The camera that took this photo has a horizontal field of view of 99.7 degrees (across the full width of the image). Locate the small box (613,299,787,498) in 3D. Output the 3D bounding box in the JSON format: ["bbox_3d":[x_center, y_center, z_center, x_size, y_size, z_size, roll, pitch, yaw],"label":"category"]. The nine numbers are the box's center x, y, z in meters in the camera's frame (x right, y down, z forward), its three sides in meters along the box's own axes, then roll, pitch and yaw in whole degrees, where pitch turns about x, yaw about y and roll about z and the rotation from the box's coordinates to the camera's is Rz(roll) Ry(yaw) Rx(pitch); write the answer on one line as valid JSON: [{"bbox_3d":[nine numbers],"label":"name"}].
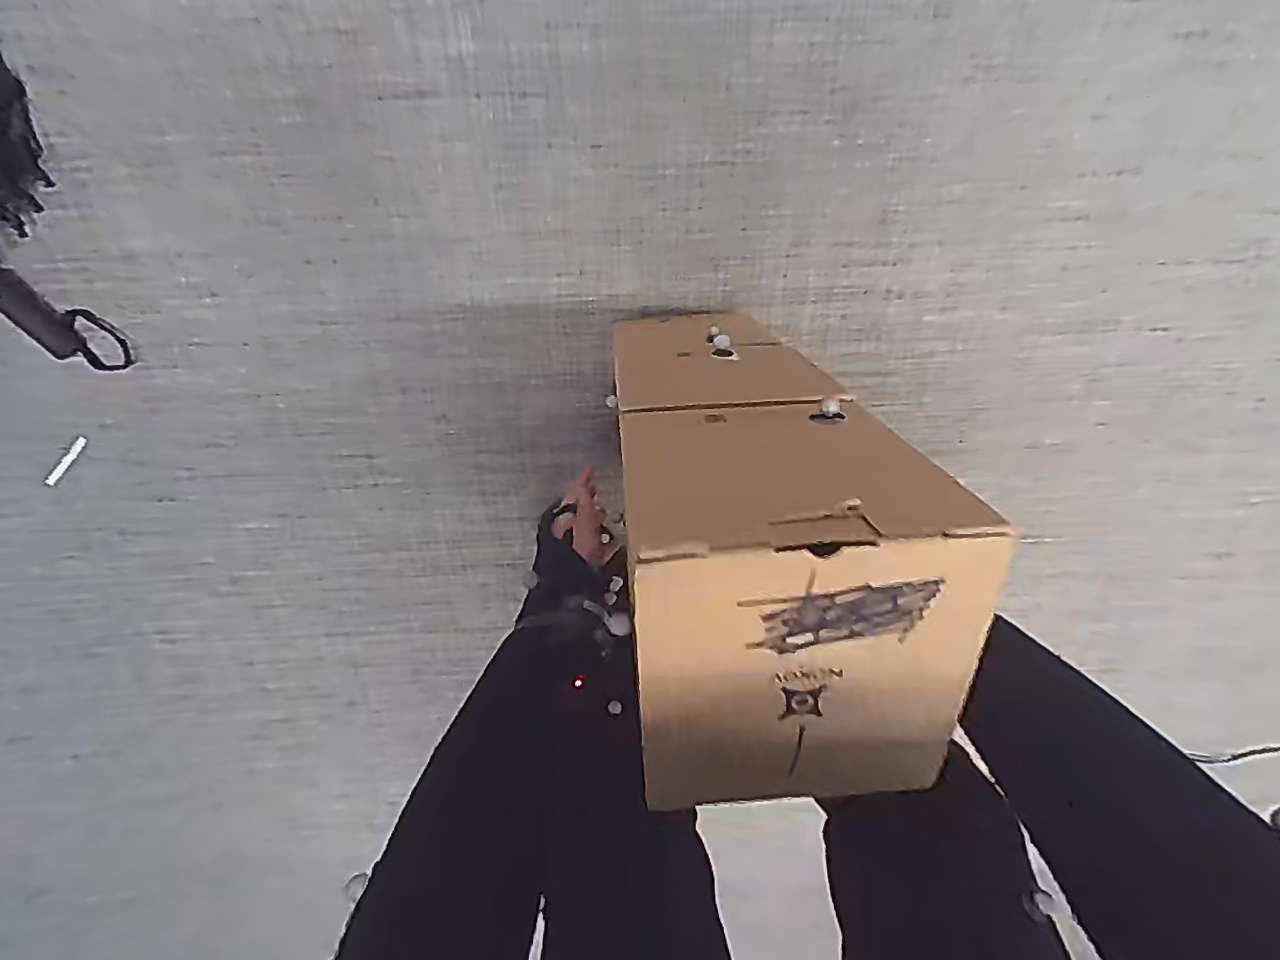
[{"bbox_3d":[0.057,-0.098,0.614,0.168,0.176,0.179,-4,117,-1],"label":"small box"}]
